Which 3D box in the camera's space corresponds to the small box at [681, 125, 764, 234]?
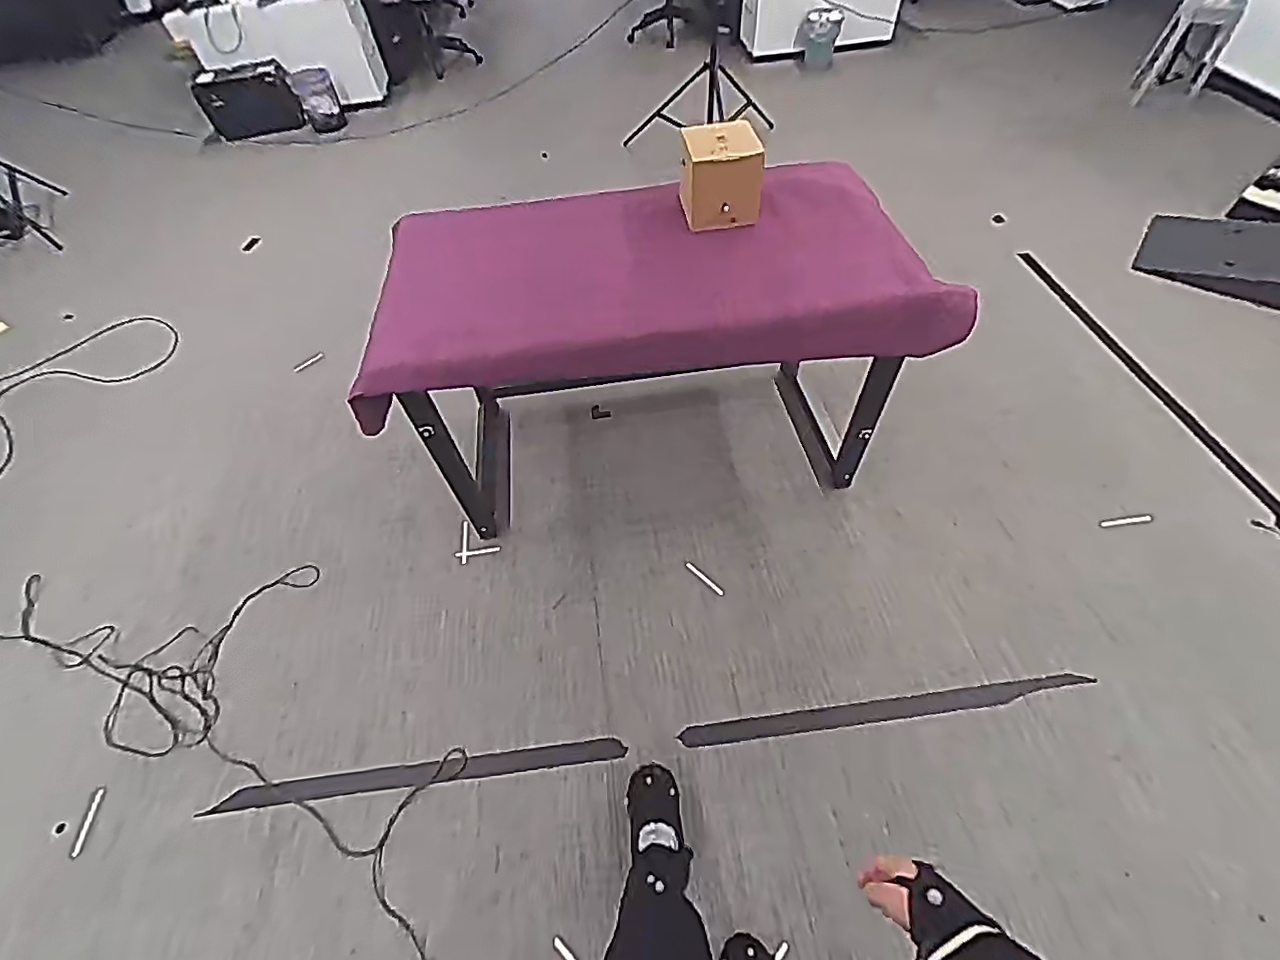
[{"bbox_3d":[0.192,-0.727,1.313,0.168,0.176,0.179,-8,55,-1],"label":"small box"}]
